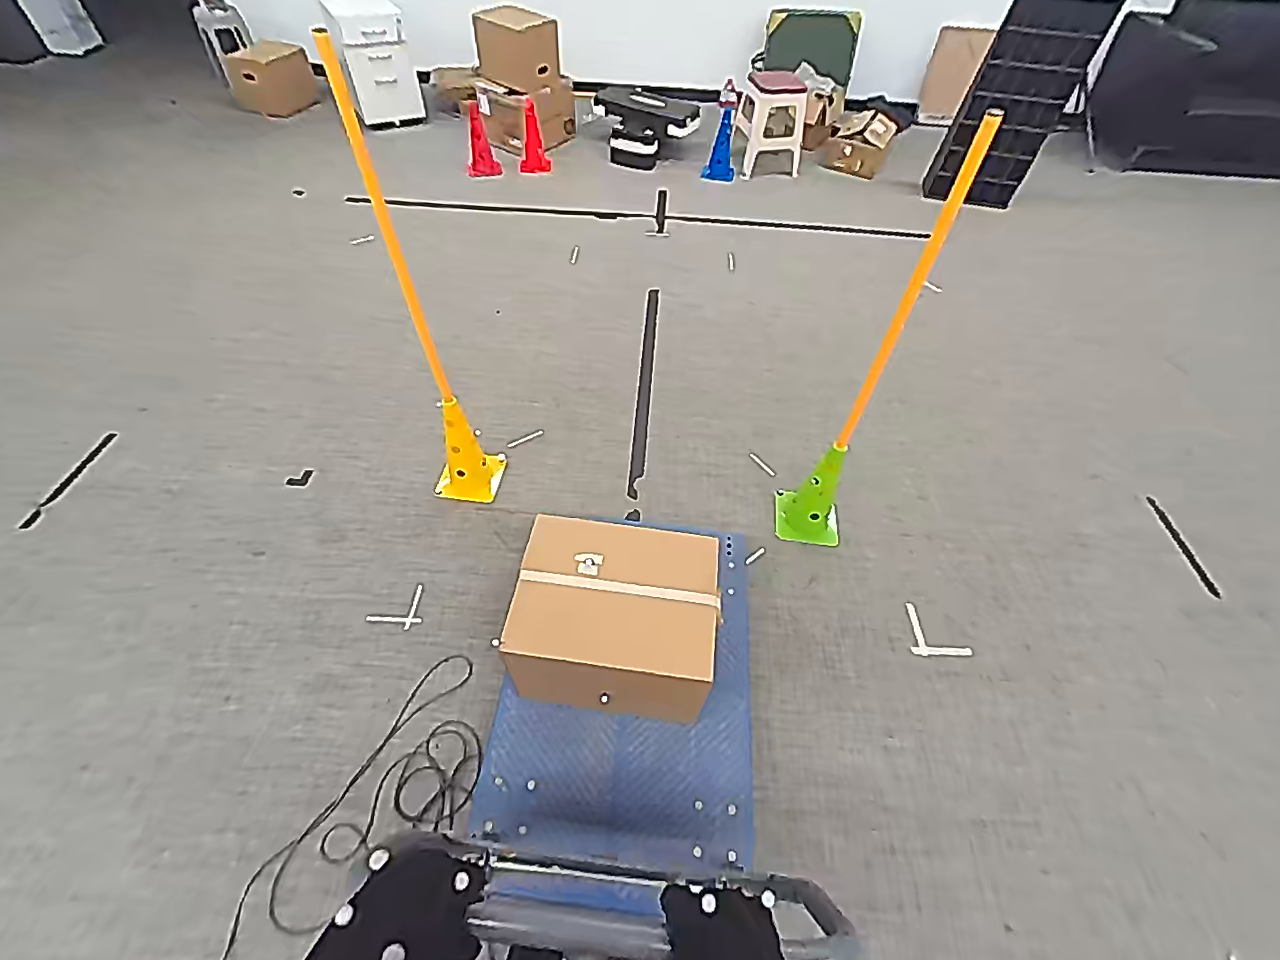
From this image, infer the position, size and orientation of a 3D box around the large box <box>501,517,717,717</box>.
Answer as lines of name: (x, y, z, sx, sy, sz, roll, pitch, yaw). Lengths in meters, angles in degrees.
large box: (-0.049, 0.312, 1.211, 0.408, 0.320, 0.320, 7, 52, 4)

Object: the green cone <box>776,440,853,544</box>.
green cone: (0.567, 0.012, 1.666, 0.202, 0.368, 0.200, 8, 52, 2)
